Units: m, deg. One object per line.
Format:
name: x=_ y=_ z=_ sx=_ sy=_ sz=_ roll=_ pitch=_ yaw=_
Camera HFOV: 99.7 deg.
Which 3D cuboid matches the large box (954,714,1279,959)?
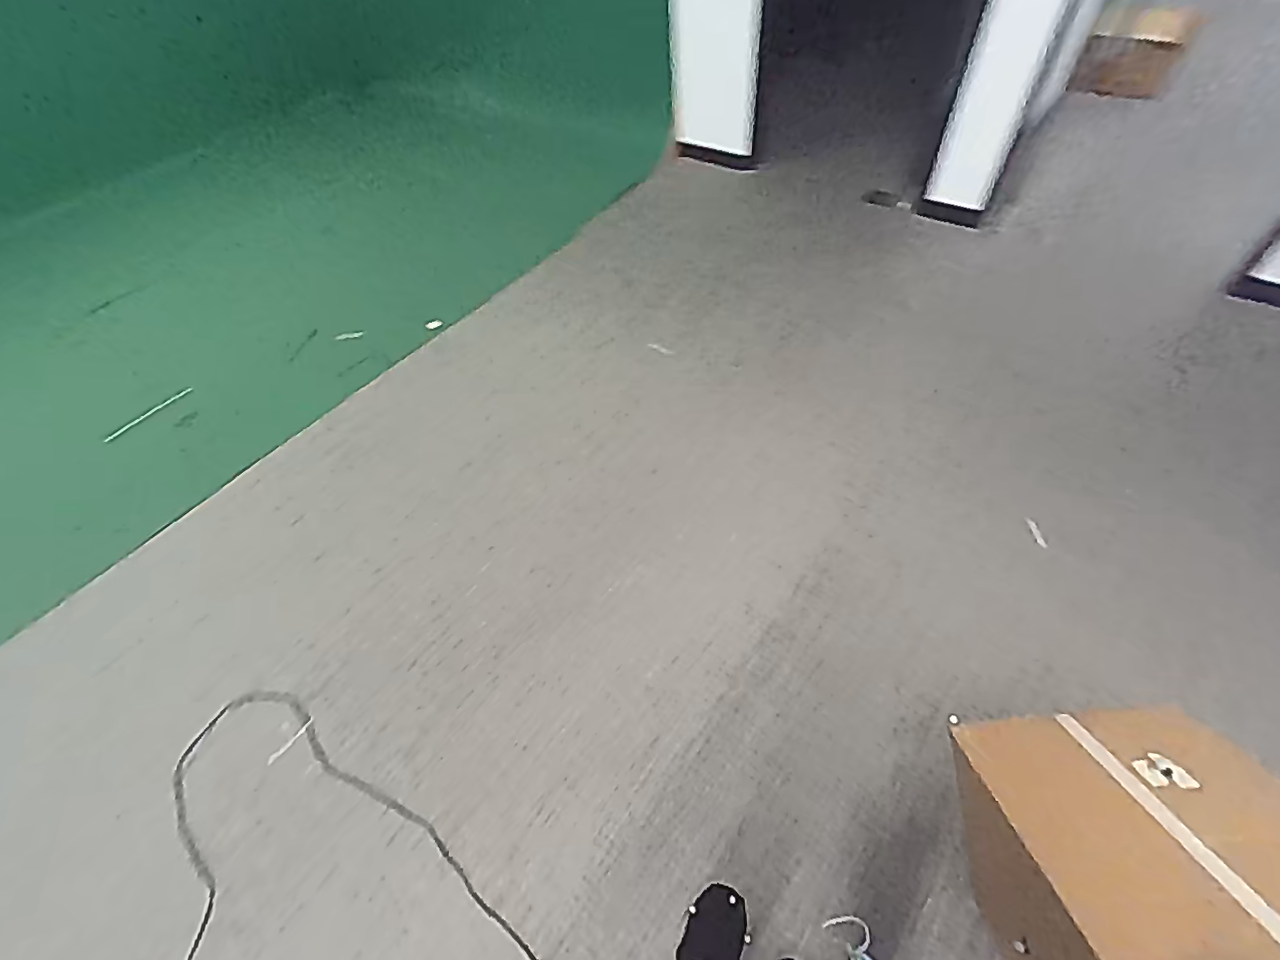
large box: x=0.636 y=0.543 z=0.639 sx=0.320 sy=0.408 sz=0.320 roll=-10 pitch=97 yaw=11
